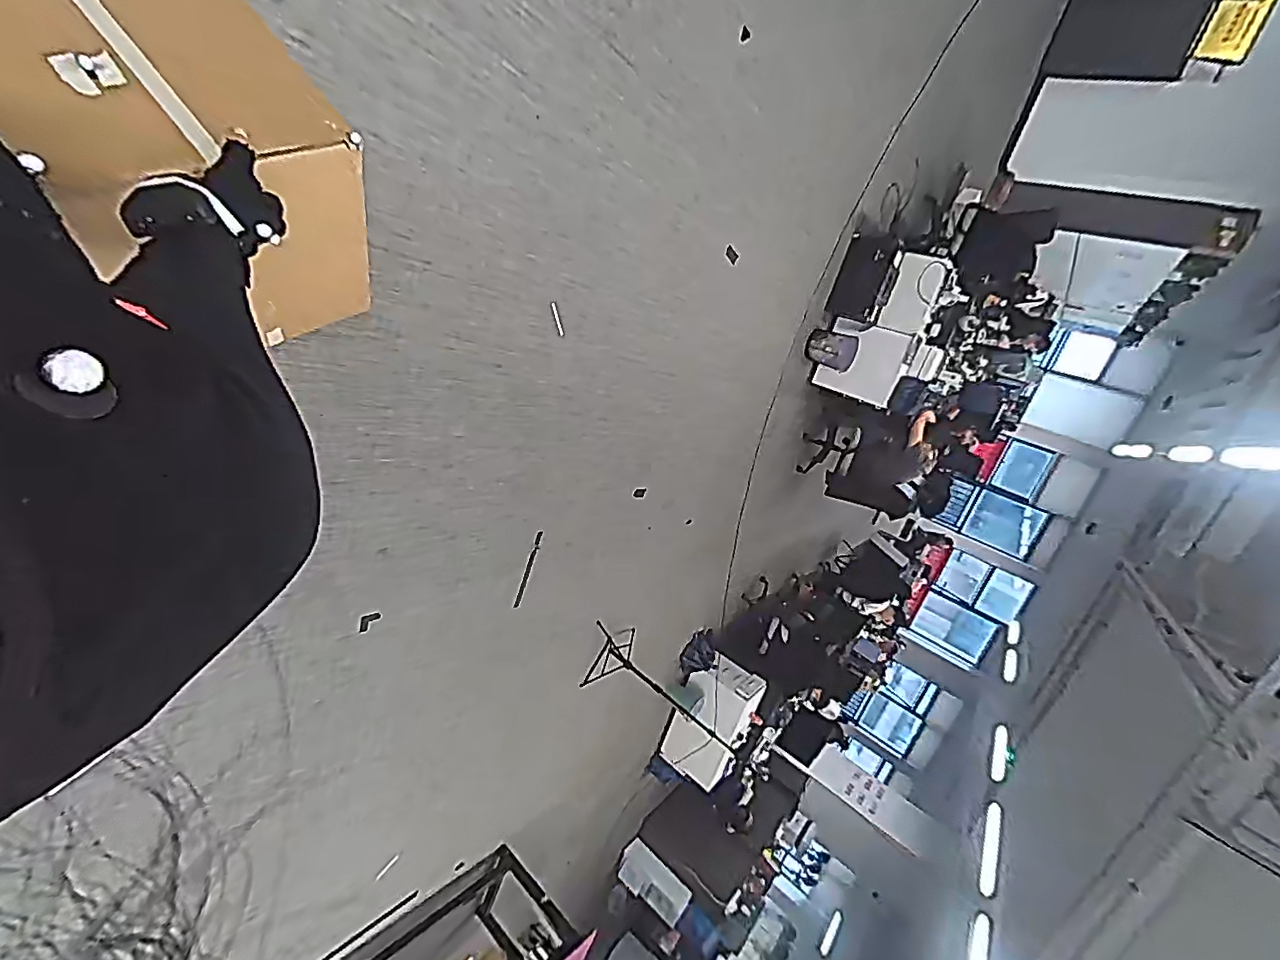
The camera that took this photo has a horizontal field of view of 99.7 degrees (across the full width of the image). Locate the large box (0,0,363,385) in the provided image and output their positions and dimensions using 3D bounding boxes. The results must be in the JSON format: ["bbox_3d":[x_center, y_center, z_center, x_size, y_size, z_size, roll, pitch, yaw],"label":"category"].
[{"bbox_3d":[-0.626,-0.409,0.707,0.320,0.408,0.320,-38,177,-32],"label":"large box"}]
